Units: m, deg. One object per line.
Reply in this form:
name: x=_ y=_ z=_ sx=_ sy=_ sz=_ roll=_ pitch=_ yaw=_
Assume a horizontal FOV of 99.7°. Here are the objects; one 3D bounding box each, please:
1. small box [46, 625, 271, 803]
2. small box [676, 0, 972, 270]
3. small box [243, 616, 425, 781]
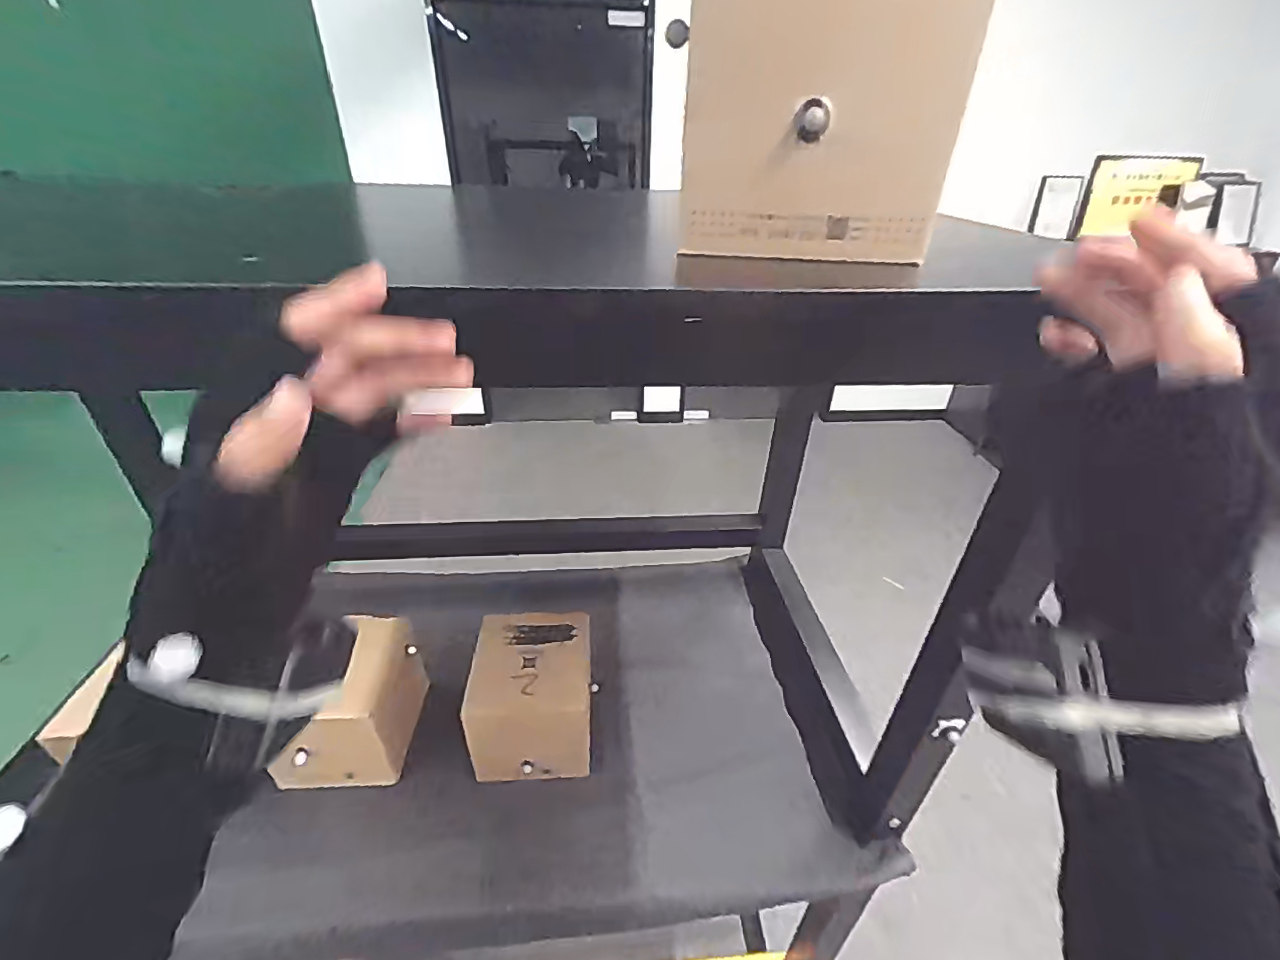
small box: x=-0.664 y=0.335 z=0.786 sx=0.168 sy=0.176 sz=0.179 roll=-1 pitch=33 yaw=-5
small box: x=0.117 y=-0.263 z=0.408 sx=0.168 sy=0.176 sz=0.179 roll=5 pitch=32 yaw=5
small box: x=-0.439 y=0.329 z=0.813 sx=0.168 sy=0.176 sz=0.179 roll=0 pitch=32 yaw=-4
